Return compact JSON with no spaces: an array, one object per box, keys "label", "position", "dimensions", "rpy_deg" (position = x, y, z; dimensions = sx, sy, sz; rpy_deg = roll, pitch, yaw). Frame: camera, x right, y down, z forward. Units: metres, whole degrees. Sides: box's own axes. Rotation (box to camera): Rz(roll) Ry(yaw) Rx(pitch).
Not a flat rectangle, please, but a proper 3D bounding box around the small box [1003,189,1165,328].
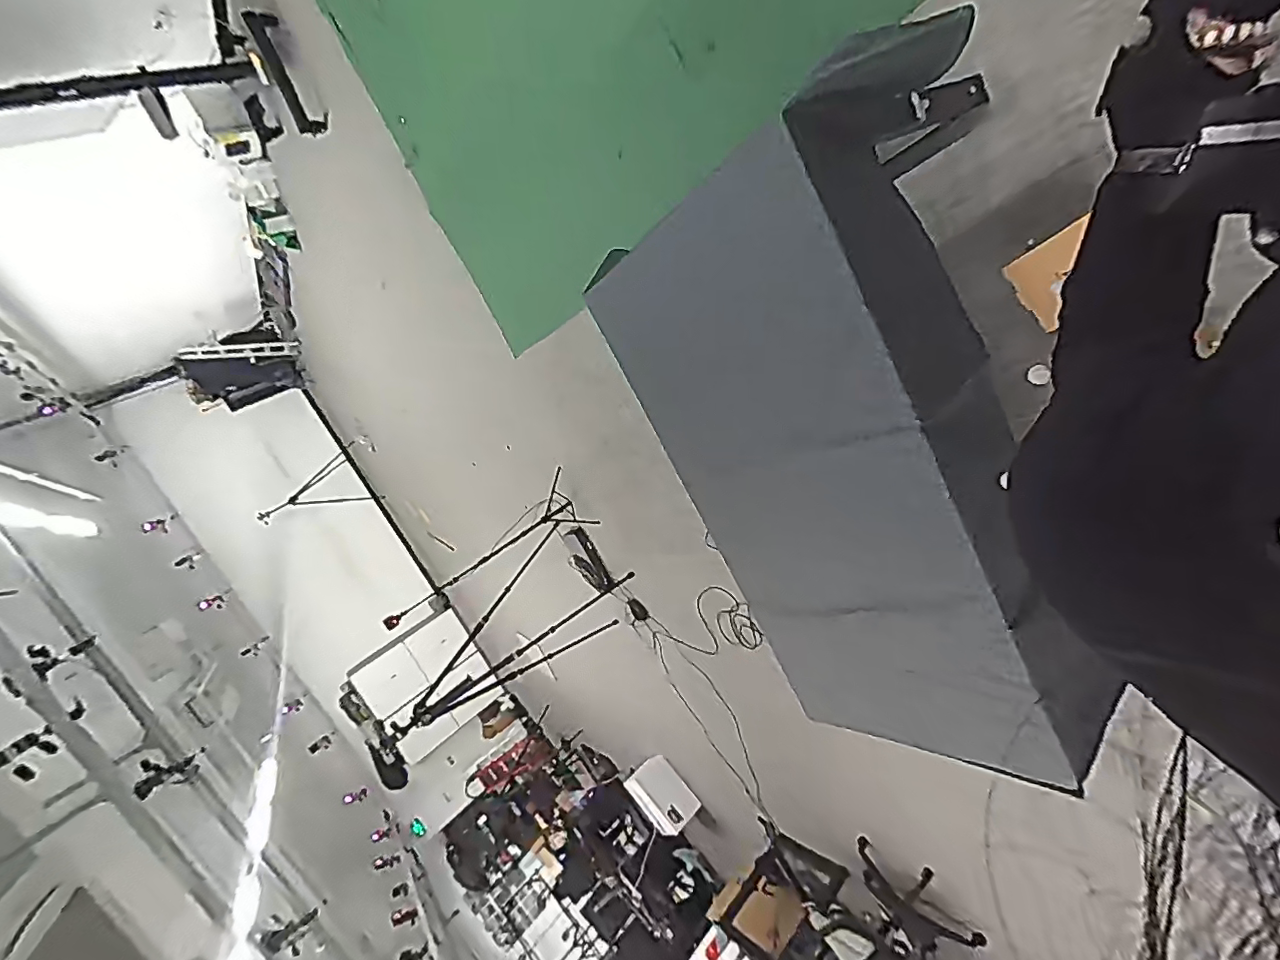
[{"label":"small box","position":[0.887,-0.441,1.082],"dimensions":[0.168,0.176,0.179],"rpy_deg":[54,150,0]}]
